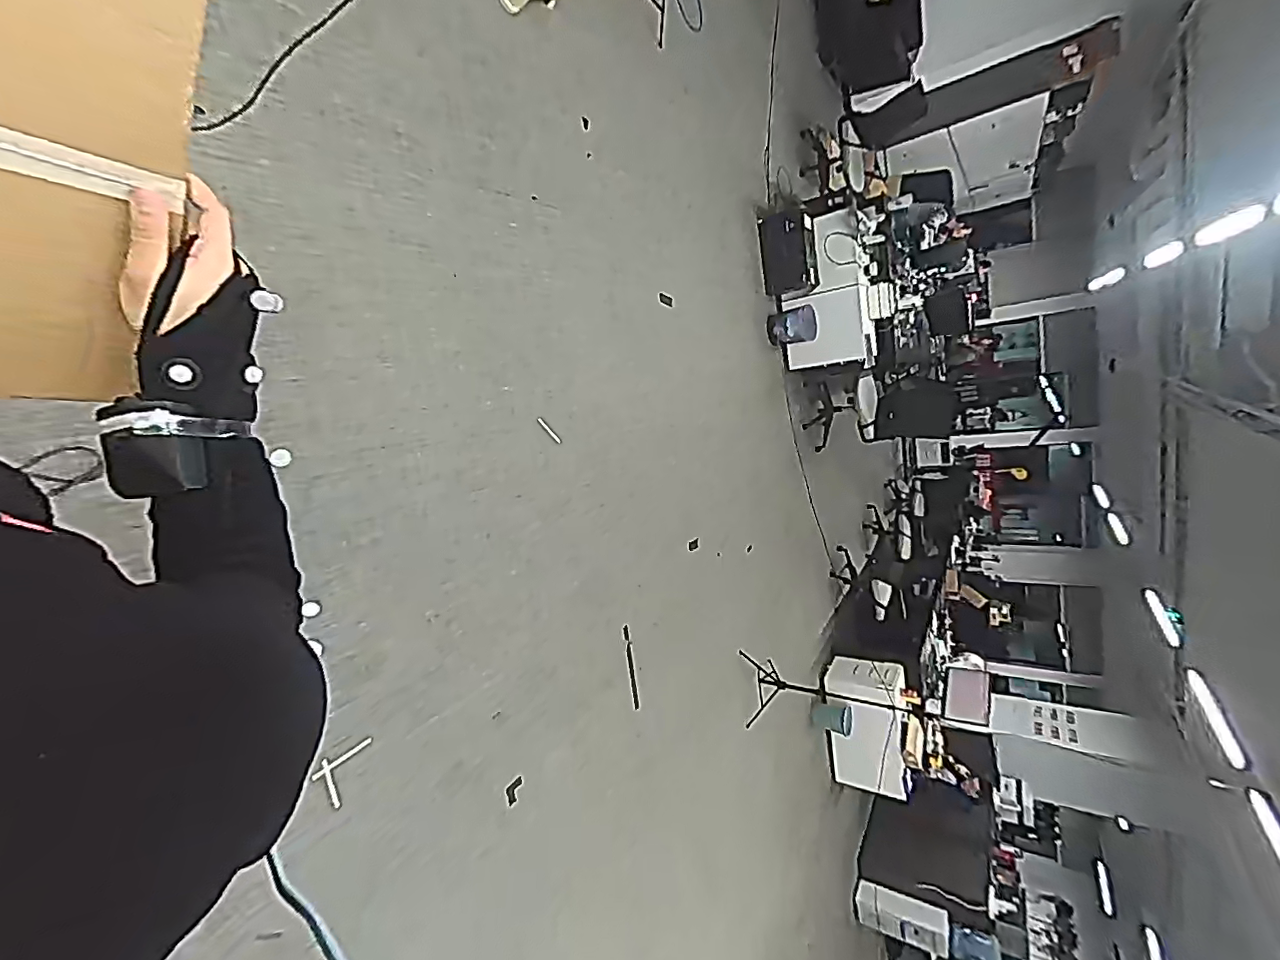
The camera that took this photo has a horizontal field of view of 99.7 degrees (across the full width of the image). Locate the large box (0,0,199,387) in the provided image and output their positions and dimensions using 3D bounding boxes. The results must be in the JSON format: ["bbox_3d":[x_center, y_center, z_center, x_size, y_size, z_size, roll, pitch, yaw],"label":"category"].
[{"bbox_3d":[-0.529,-0.264,0.263,0.408,0.320,0.320,-8,133,-56],"label":"large box"}]
